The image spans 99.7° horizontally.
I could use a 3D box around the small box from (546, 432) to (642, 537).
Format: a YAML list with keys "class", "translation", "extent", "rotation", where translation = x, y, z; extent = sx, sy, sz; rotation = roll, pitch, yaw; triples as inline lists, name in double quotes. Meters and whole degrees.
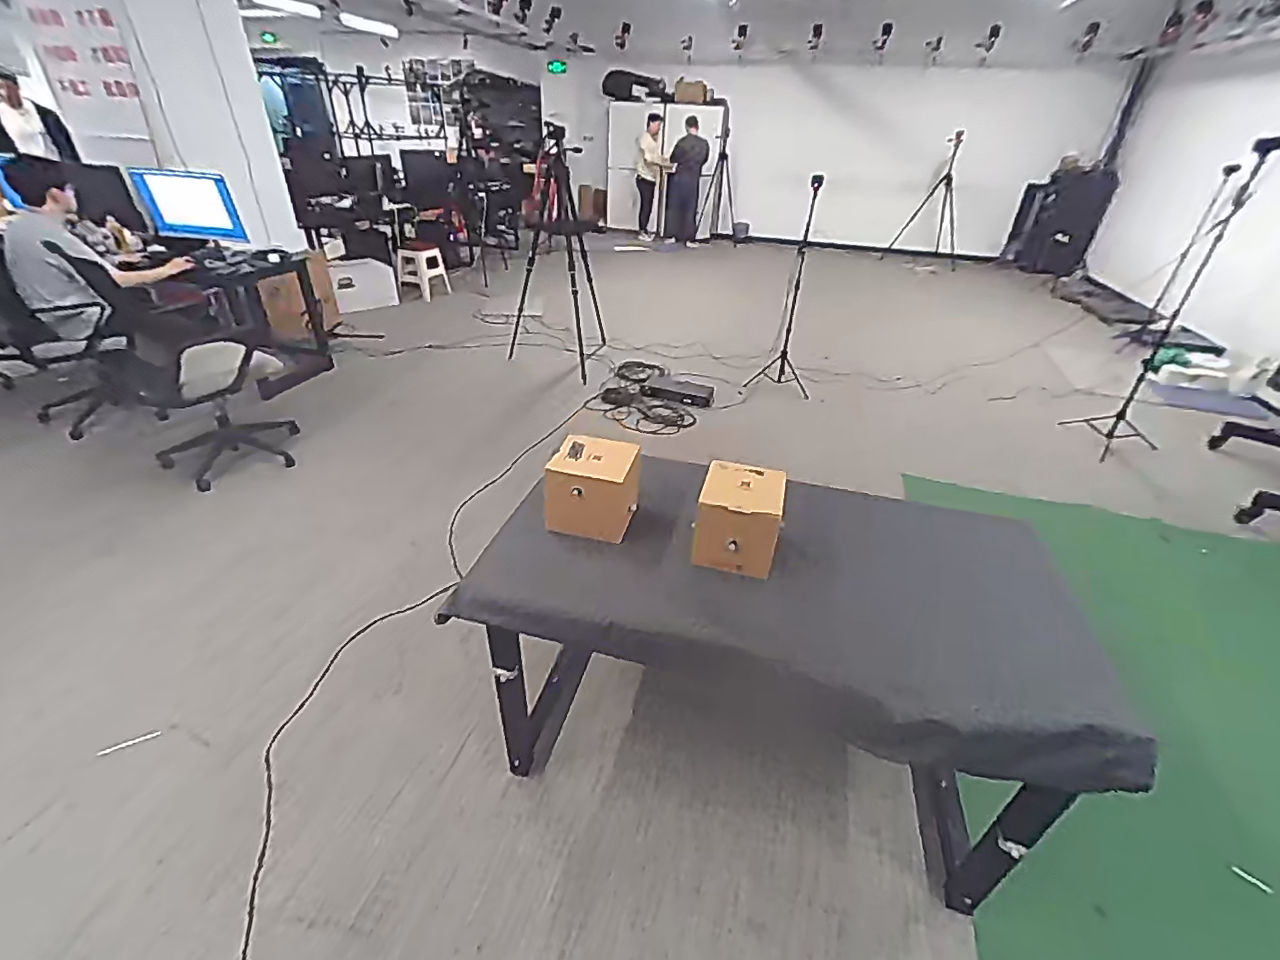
- class: "small box"
  translation: [-0.102, 0.010, 1.238]
  extent: [0.179, 0.176, 0.168]
  rotation: [11, 34, 9]

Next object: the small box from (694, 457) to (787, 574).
- class: "small box"
  translation: [0.215, 0.076, 1.166]
  extent: [0.168, 0.176, 0.179]
  rotation: [11, 35, 12]
